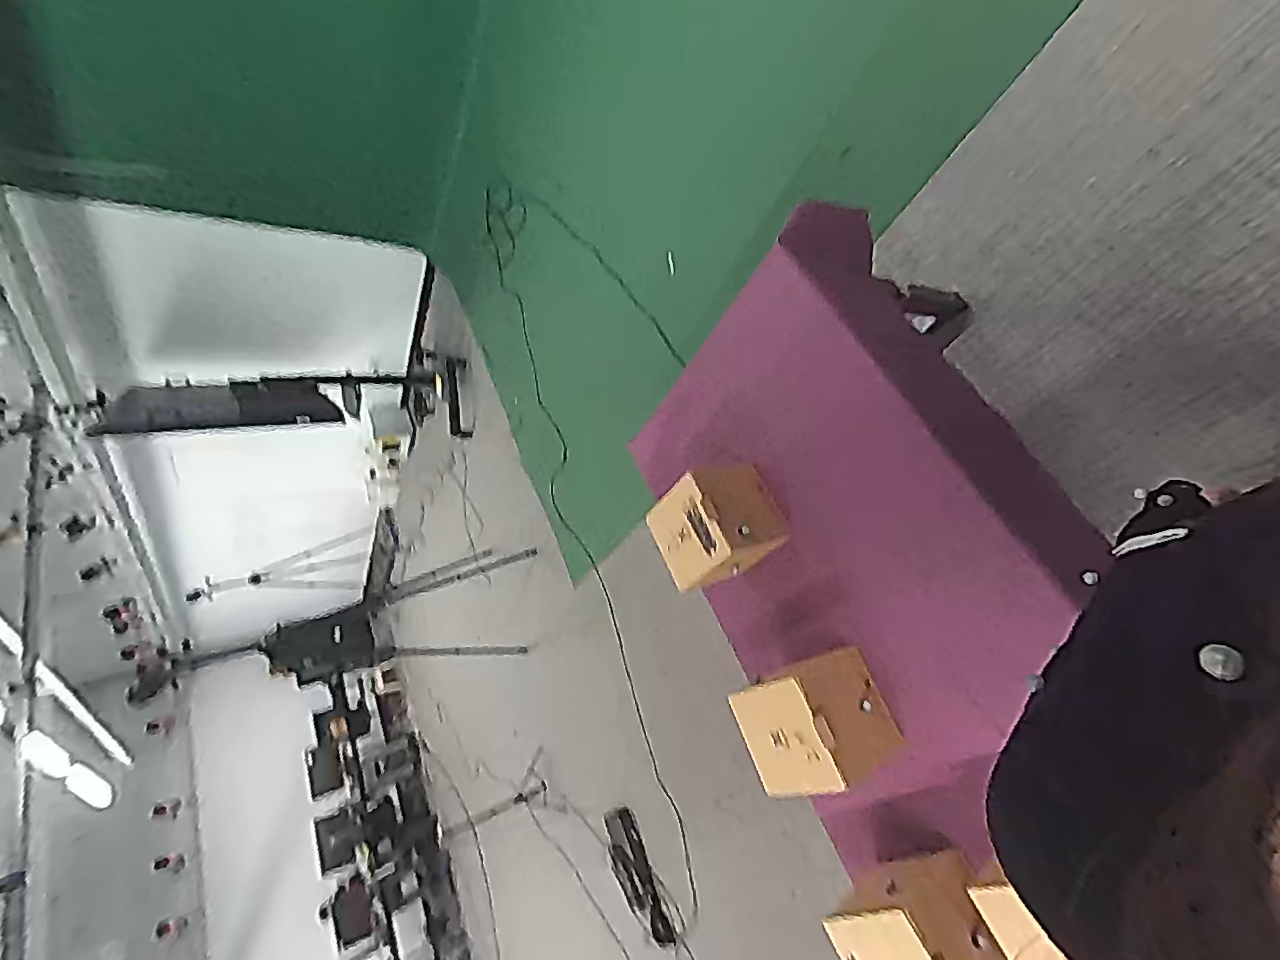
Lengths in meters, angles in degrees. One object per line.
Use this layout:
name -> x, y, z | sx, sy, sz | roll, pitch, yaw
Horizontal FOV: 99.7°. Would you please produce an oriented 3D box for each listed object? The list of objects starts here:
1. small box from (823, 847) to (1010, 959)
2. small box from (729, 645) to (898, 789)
small box -> 0.417, 0.674, 0.791 | 0.168, 0.176, 0.179 | 61, 137, 28
small box -> 0.290, 0.397, 0.912 | 0.179, 0.176, 0.168 | -44, 62, 47
